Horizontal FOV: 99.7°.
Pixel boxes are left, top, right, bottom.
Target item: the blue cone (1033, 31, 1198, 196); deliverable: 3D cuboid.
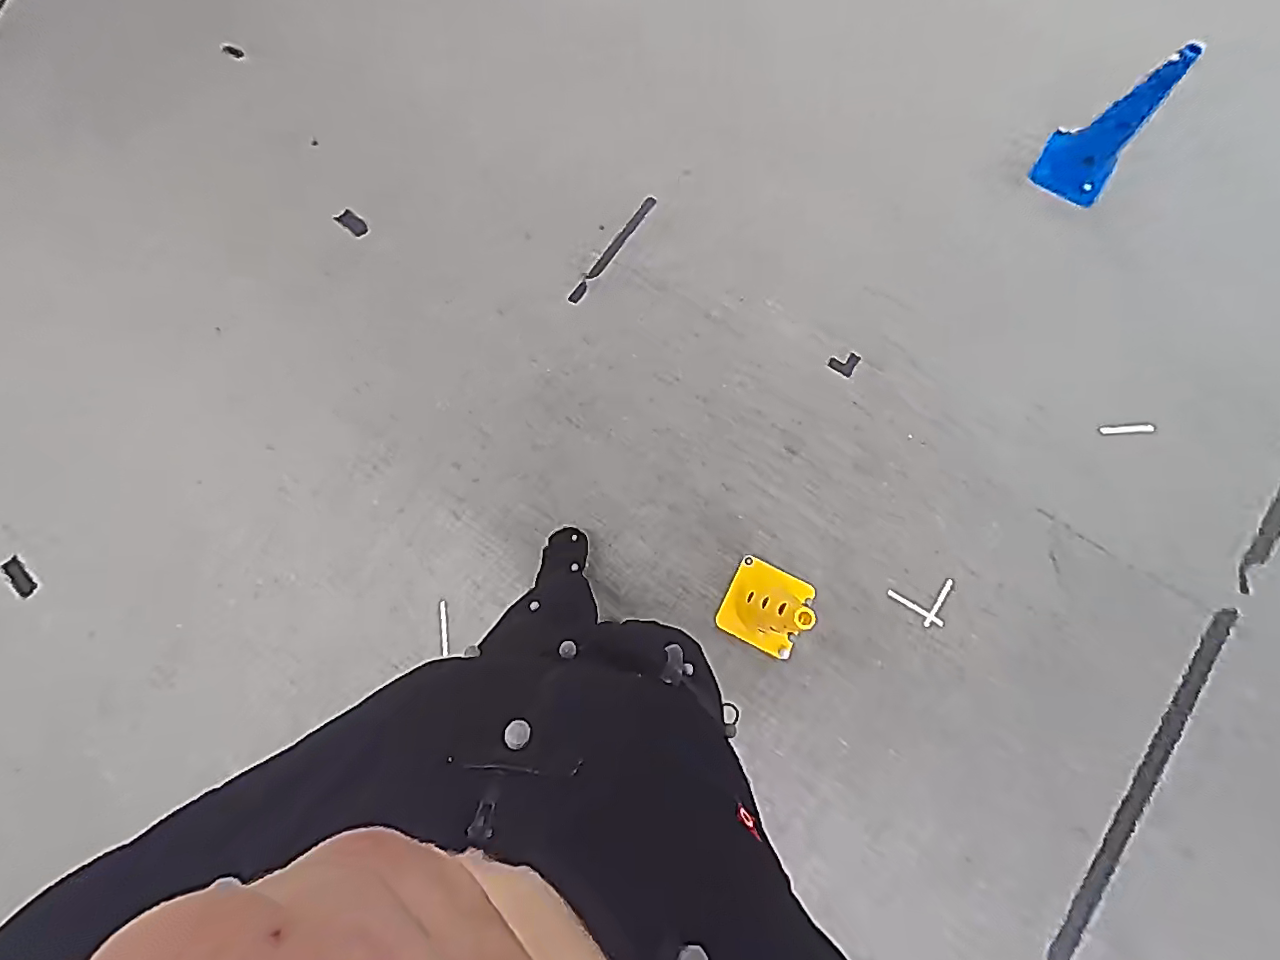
[{"bbox_3d":[1.230,-0.937,1.372,0.192,0.380,0.193,34,83,8],"label":"blue cone"}]
